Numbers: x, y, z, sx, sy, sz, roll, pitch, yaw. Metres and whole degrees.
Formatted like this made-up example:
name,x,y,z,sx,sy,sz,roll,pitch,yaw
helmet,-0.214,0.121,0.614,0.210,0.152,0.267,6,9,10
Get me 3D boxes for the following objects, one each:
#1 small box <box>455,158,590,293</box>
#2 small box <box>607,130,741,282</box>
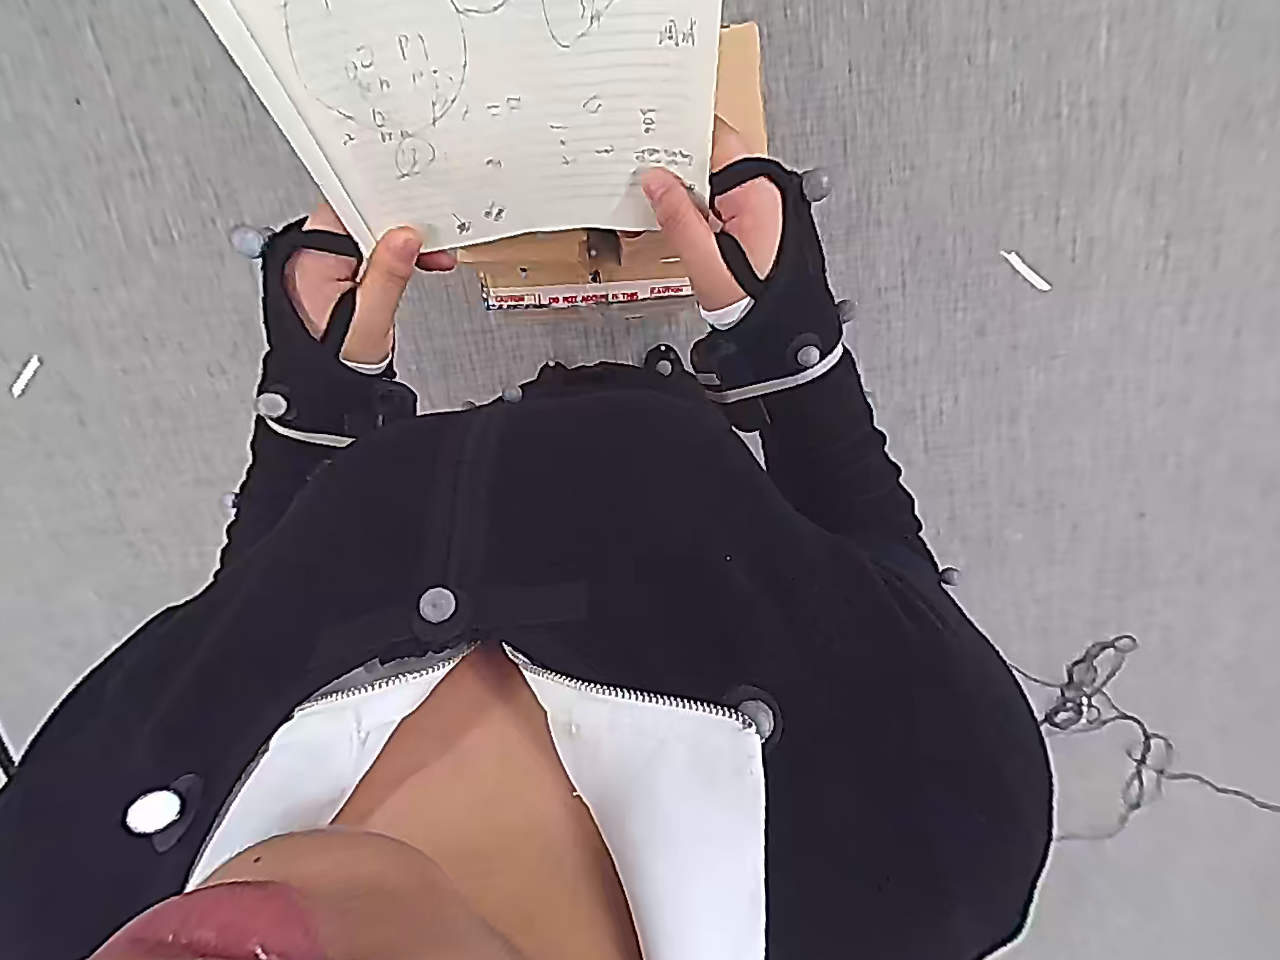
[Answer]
name,x,y,z,sx,sy,sz,roll,pitch,yaw
small box,-0.169,-0.385,0.841,0.179,0.176,0.168,0,105,0
small box,0.046,-0.413,0.841,0.179,0.176,0.168,-10,104,-1
